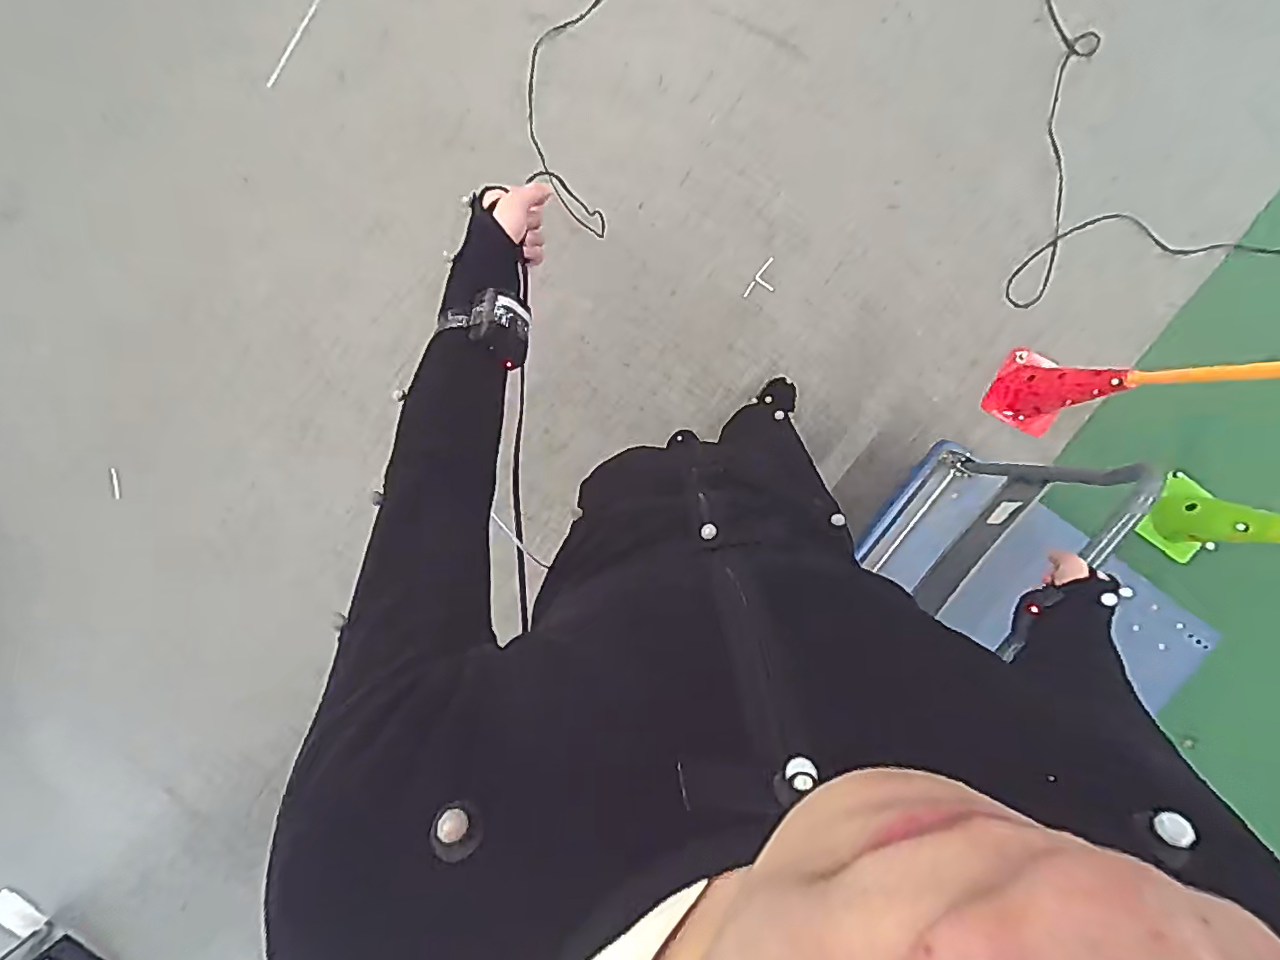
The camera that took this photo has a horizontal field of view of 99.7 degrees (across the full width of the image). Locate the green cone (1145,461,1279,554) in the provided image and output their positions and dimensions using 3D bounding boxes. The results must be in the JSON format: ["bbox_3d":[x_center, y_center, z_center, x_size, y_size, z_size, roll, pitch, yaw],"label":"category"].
[{"bbox_3d":[1.509,0.088,1.311,0.202,0.368,0.200,35,95,0],"label":"green cone"}]
